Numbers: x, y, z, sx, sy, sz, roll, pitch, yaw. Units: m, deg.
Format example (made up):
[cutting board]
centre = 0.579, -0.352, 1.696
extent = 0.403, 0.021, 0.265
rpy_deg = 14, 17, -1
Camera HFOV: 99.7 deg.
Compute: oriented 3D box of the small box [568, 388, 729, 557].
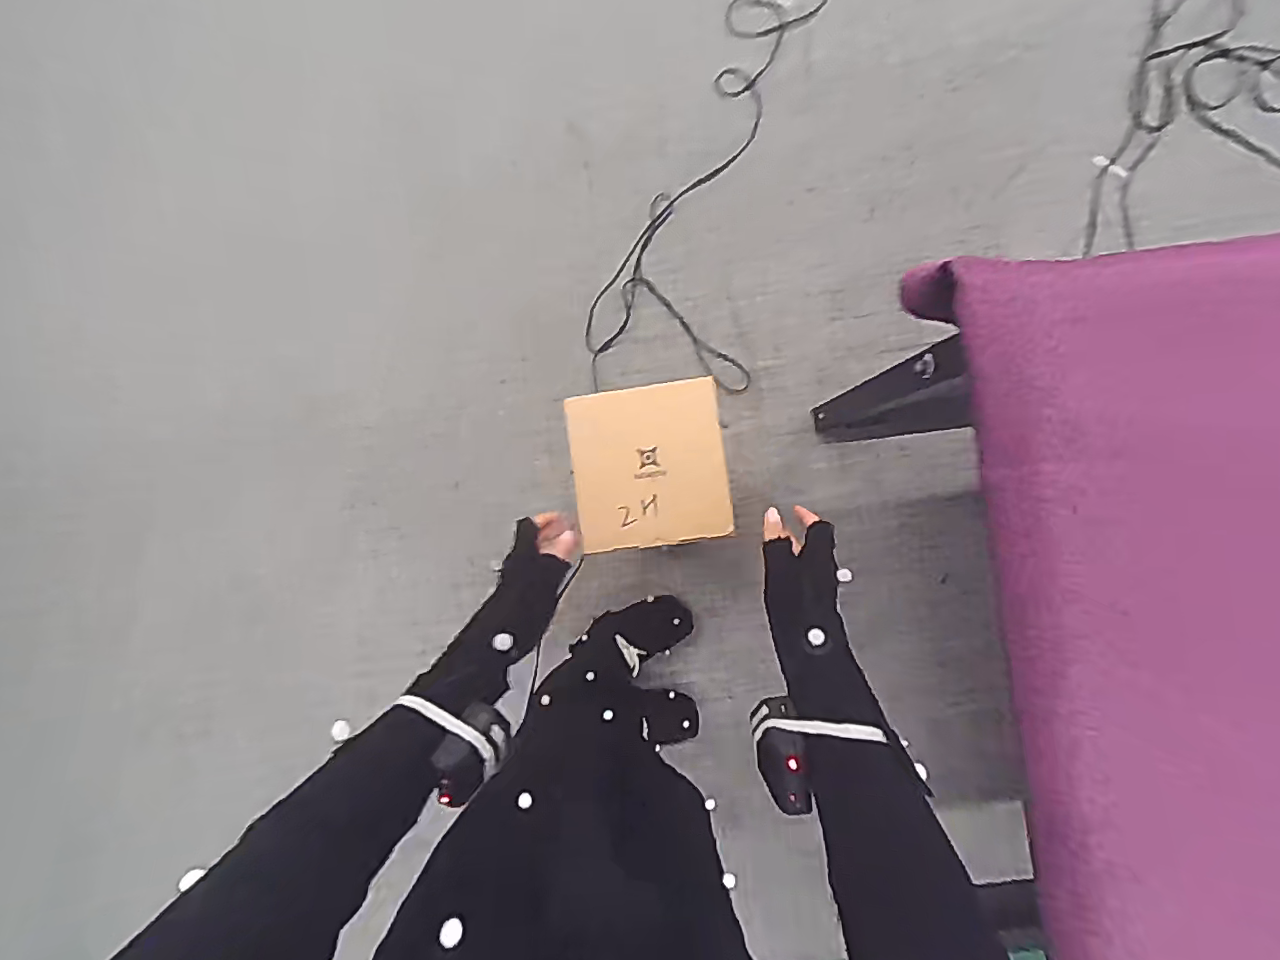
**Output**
[small box]
centre = 0.012, -0.005, 0.672
extent = 0.168, 0.176, 0.179
rpy_deg = -6, 88, 3
